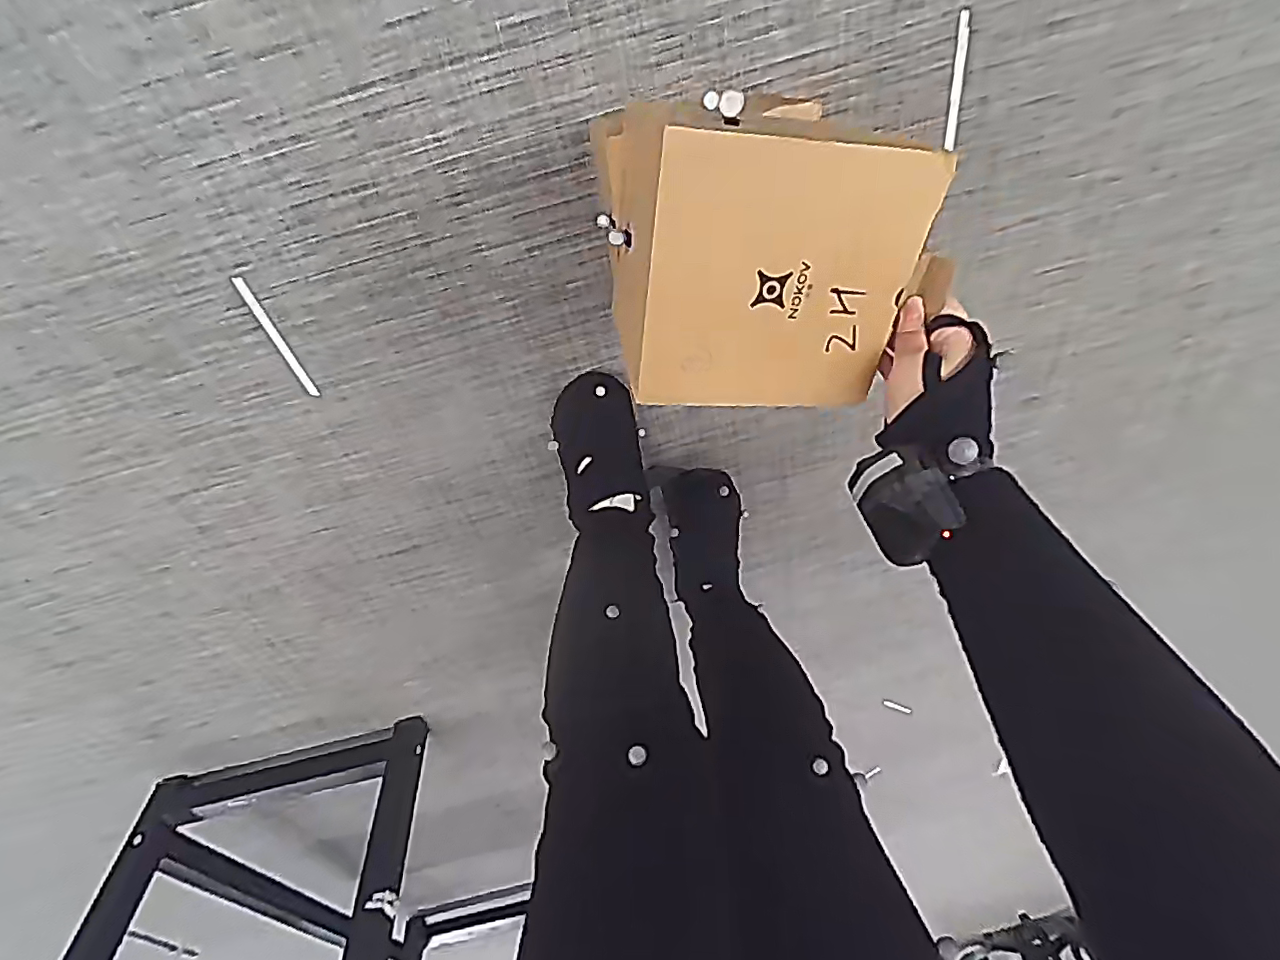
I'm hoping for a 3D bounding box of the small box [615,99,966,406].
[{"bbox_3d":[0.078,-0.169,0.396,0.179,0.176,0.168,0,128,-10],"label":"small box"}]

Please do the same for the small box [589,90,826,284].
[{"bbox_3d":[0.055,-0.267,0.527,0.179,0.176,0.168,-11,129,-3],"label":"small box"}]
